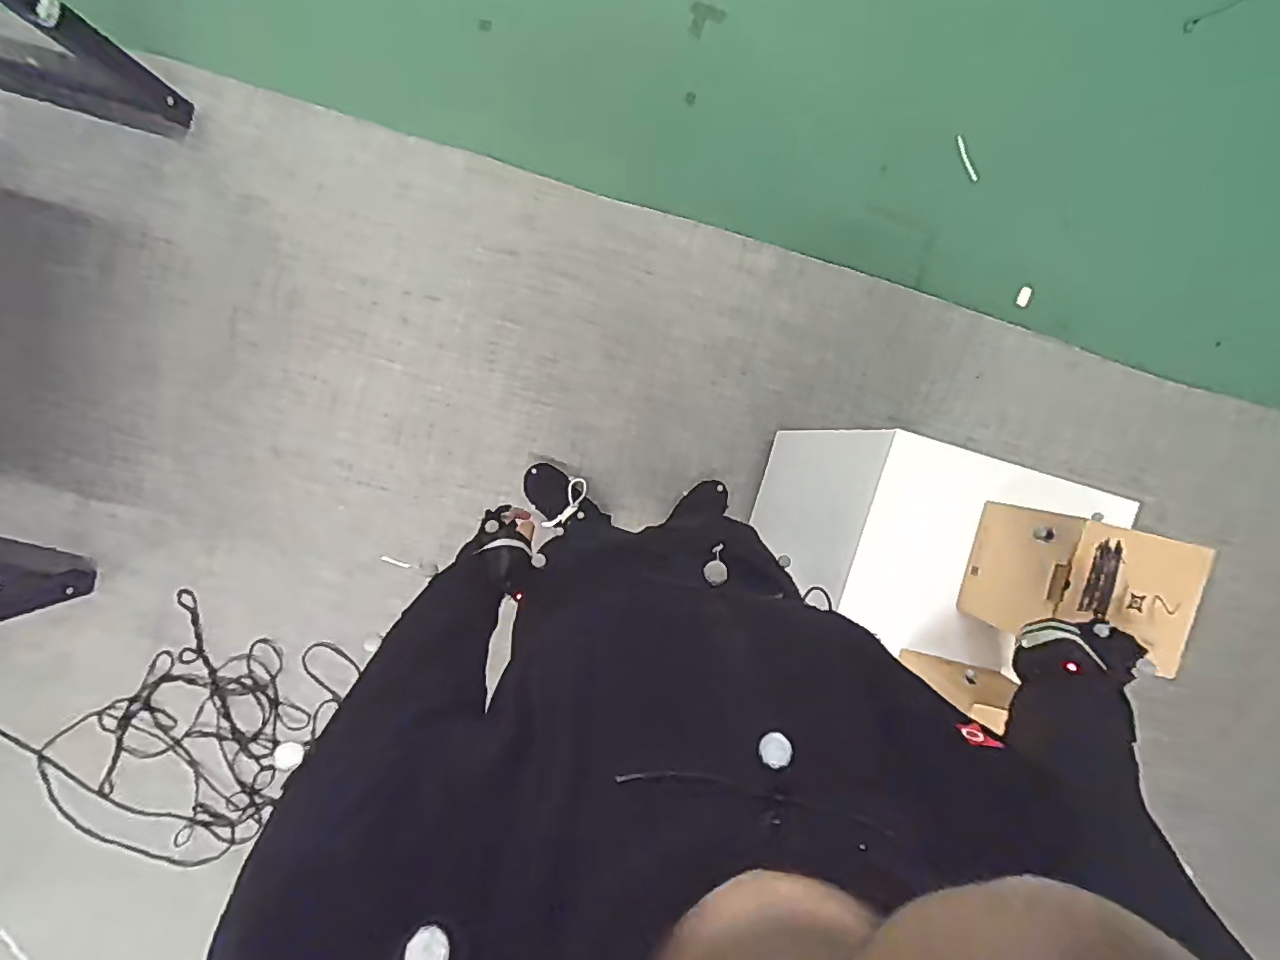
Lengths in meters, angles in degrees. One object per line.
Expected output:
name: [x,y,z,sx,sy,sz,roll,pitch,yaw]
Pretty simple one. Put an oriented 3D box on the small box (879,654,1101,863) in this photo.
small box: [0.453,0.359,0.729,0.168,0.176,0.179,14,94,-3]
